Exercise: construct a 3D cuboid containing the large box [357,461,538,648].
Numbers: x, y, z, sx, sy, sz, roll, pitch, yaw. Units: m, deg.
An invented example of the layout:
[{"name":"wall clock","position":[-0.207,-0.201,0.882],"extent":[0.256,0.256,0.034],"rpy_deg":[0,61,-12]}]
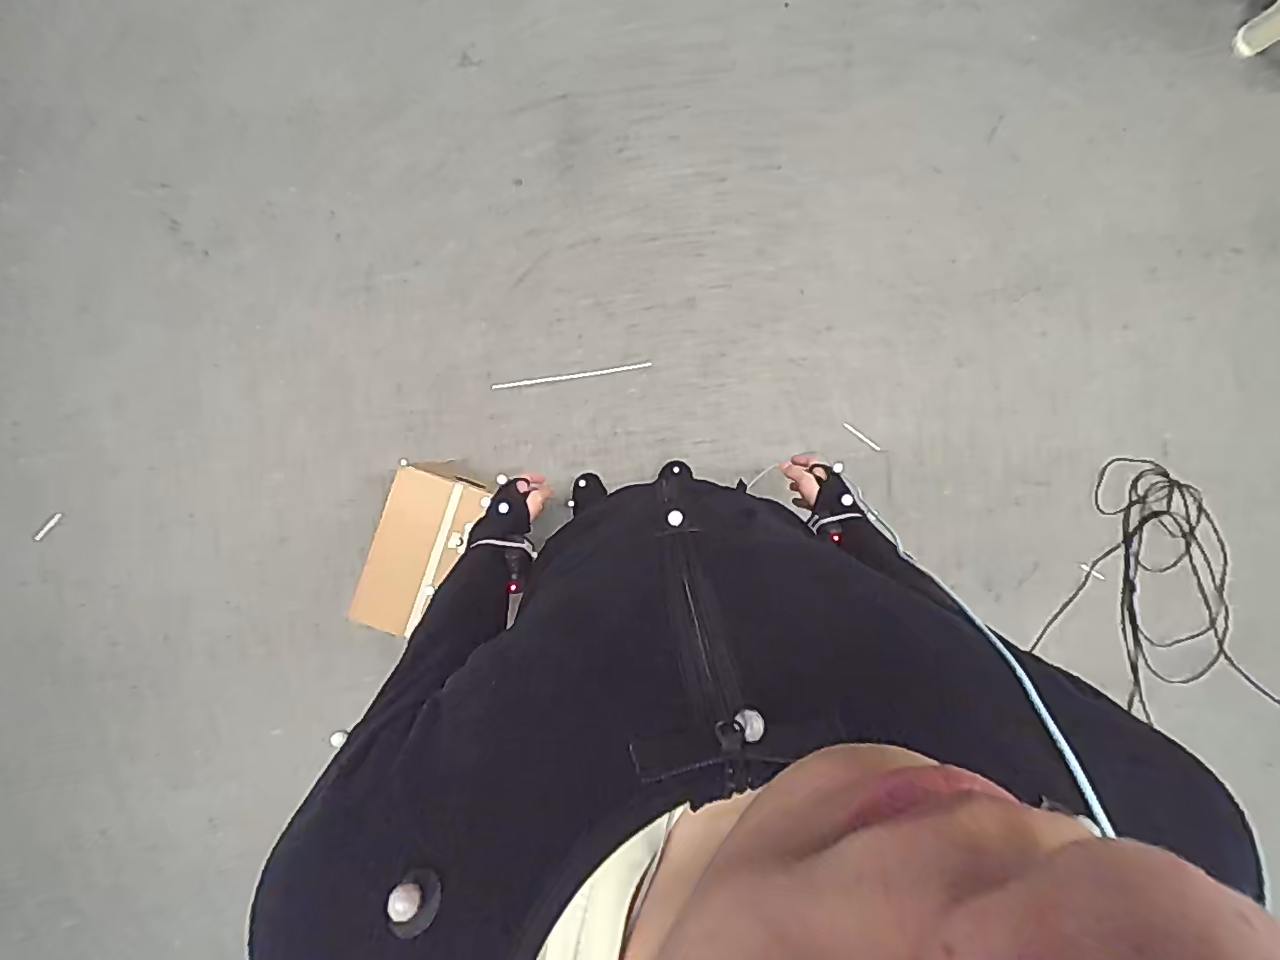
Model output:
[{"name":"large box","position":[-0.505,0.187,1.487],"extent":[0.320,0.320,0.408],"rpy_deg":[19,90,-4]}]
